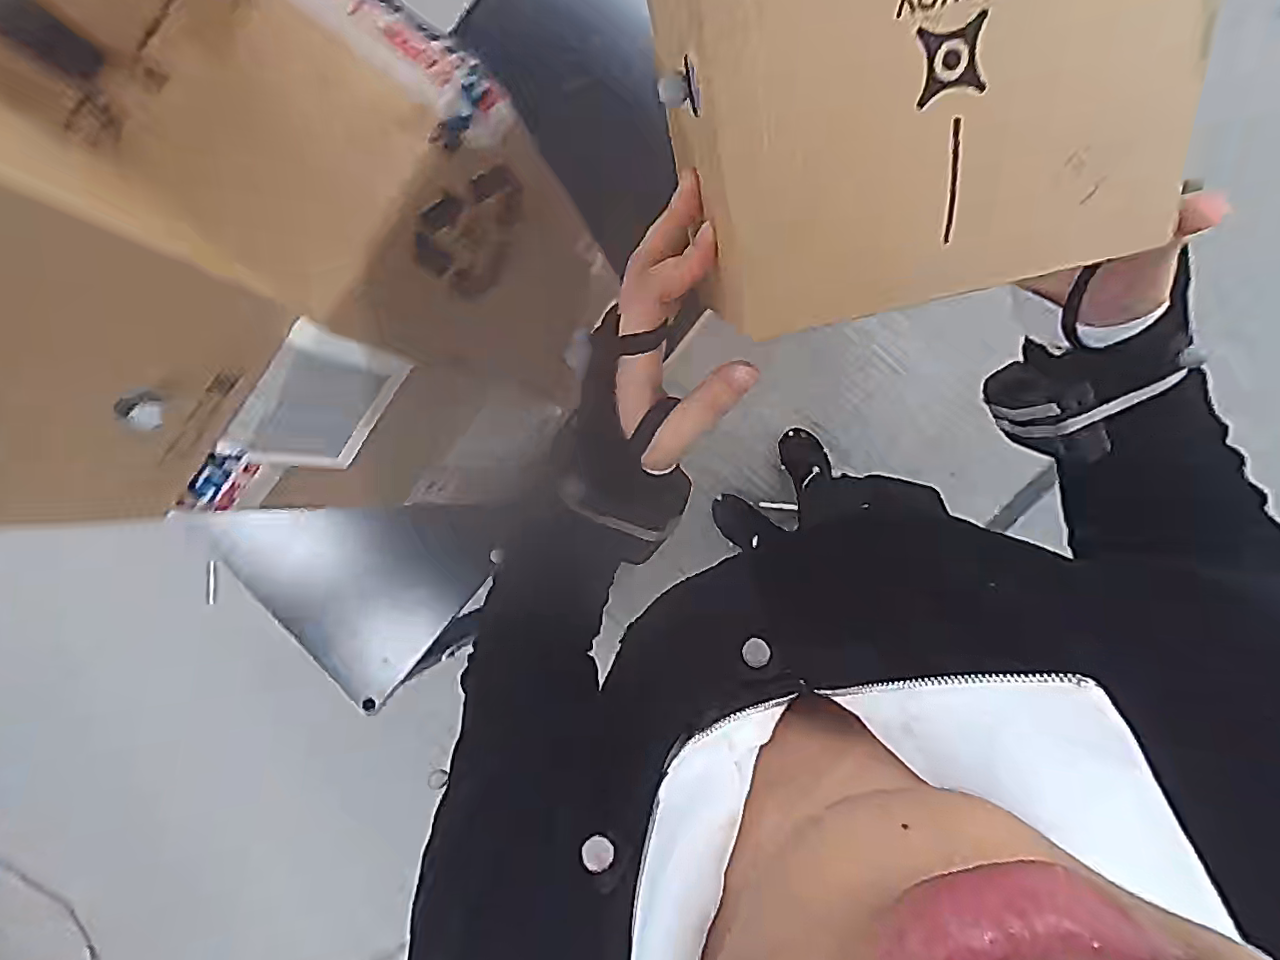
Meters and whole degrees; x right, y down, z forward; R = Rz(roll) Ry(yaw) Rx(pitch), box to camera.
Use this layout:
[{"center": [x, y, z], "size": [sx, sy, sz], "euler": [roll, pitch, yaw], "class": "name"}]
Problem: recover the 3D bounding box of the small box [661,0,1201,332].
[{"center": [0.106, -0.184, 0.259], "size": [0.168, 0.176, 0.179], "euler": [-11, 114, 5], "class": "small box"}]
